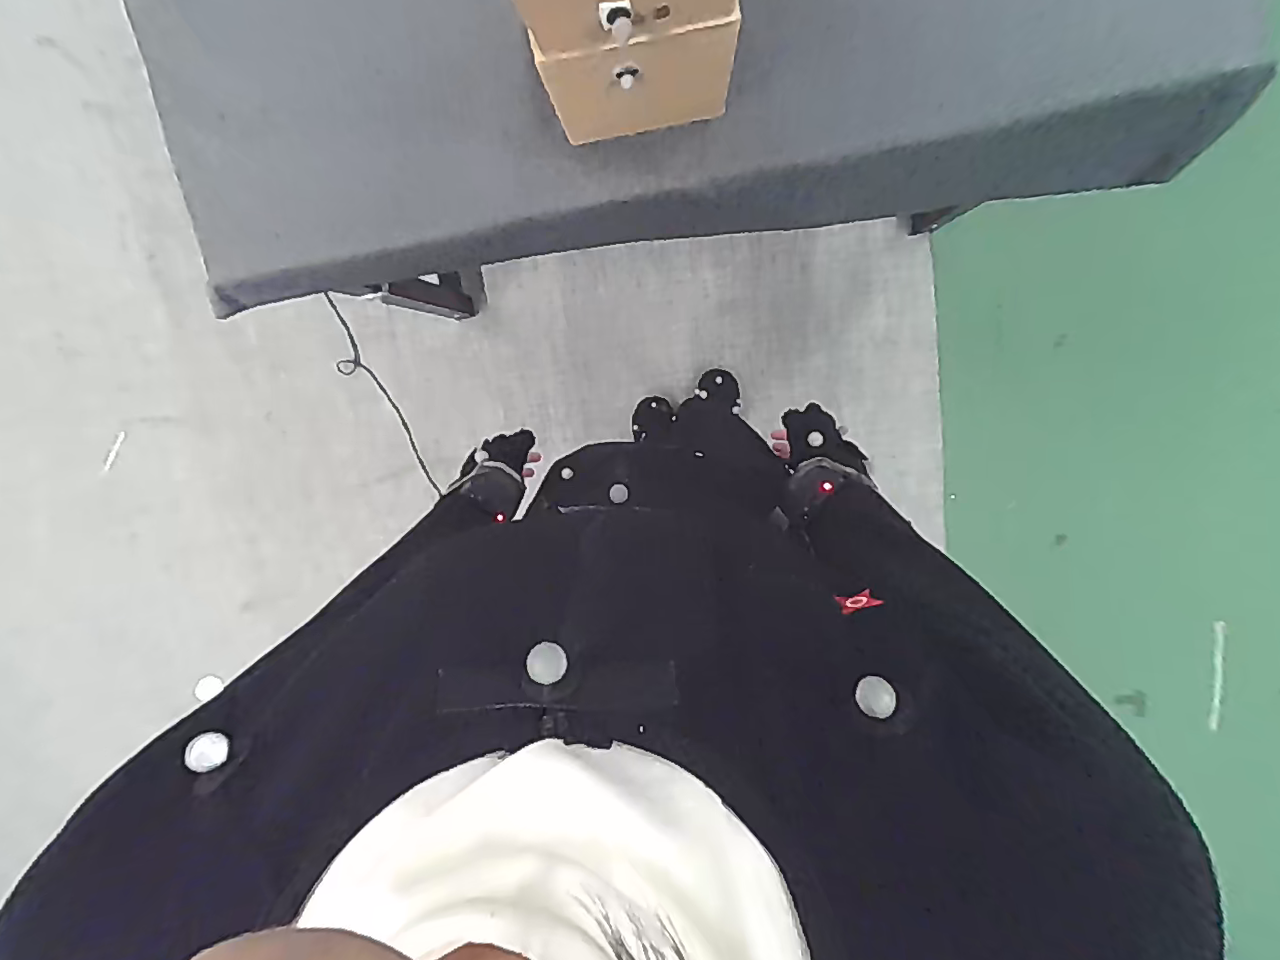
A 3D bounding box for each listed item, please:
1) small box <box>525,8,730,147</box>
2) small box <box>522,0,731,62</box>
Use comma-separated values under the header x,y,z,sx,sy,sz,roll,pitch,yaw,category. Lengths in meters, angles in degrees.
x,y,z,sx,sy,sz,roll,pitch,yaw,category
-0.013,-0.462,0.538,0.179,0.176,0.168,-8,101,4,small box
-0.025,-0.437,0.362,0.168,0.176,0.179,-10,101,7,small box
